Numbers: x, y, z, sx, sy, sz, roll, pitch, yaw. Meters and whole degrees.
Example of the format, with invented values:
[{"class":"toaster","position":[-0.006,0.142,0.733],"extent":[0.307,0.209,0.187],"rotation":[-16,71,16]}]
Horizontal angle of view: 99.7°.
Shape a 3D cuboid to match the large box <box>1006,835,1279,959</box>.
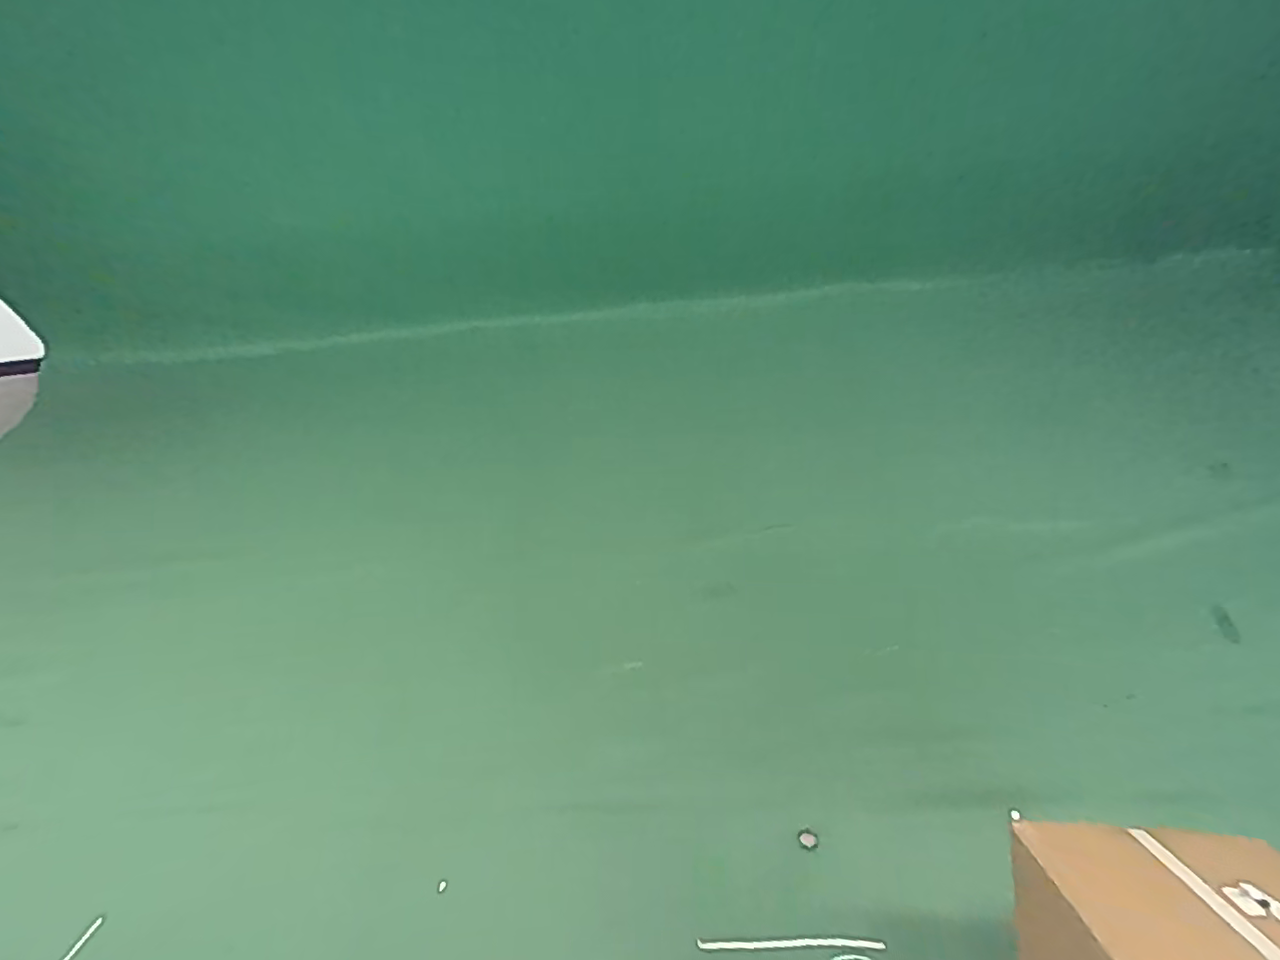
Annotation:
[{"class":"large box","position":[0.660,0.661,0.570],"extent":[0.320,0.408,0.320],"rotation":[-2,88,12]}]
